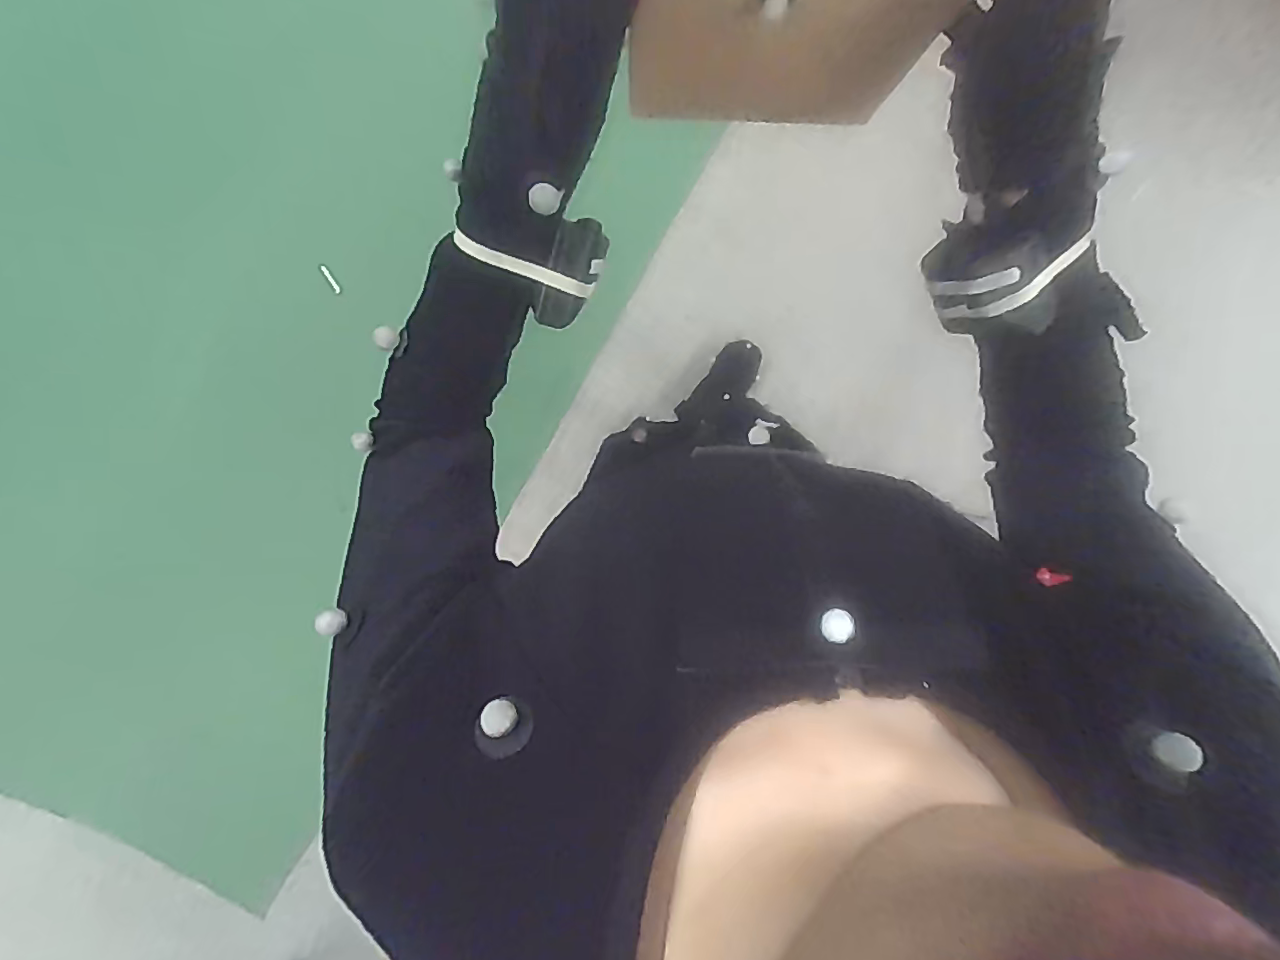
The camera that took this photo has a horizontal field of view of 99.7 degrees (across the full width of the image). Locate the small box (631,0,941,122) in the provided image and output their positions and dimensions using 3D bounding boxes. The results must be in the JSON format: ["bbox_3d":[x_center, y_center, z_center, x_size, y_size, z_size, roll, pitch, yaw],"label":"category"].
[{"bbox_3d":[0.083,-0.334,0.307,0.179,0.176,0.168,1,97,-1],"label":"small box"}]
